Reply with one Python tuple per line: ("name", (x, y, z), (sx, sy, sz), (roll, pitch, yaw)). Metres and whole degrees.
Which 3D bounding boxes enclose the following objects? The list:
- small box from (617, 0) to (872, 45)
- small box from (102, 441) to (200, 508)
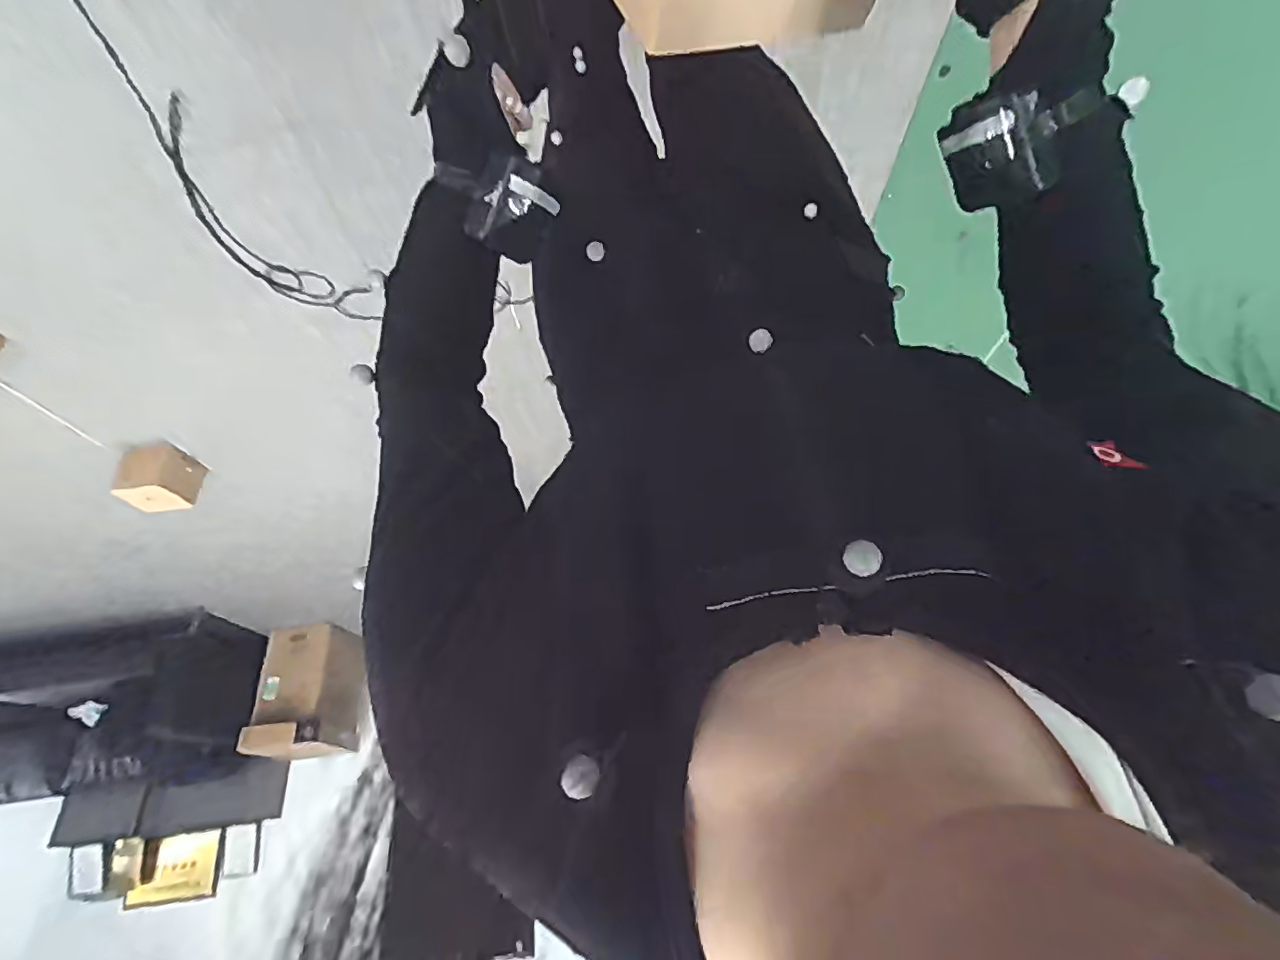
("small box", (0.059, -0.386, 0.292), (0.179, 0.176, 0.168), (-21, 165, -18))
("small box", (-1.718, -0.020, 1.914), (0.179, 0.176, 0.168), (-7, 151, -1))
